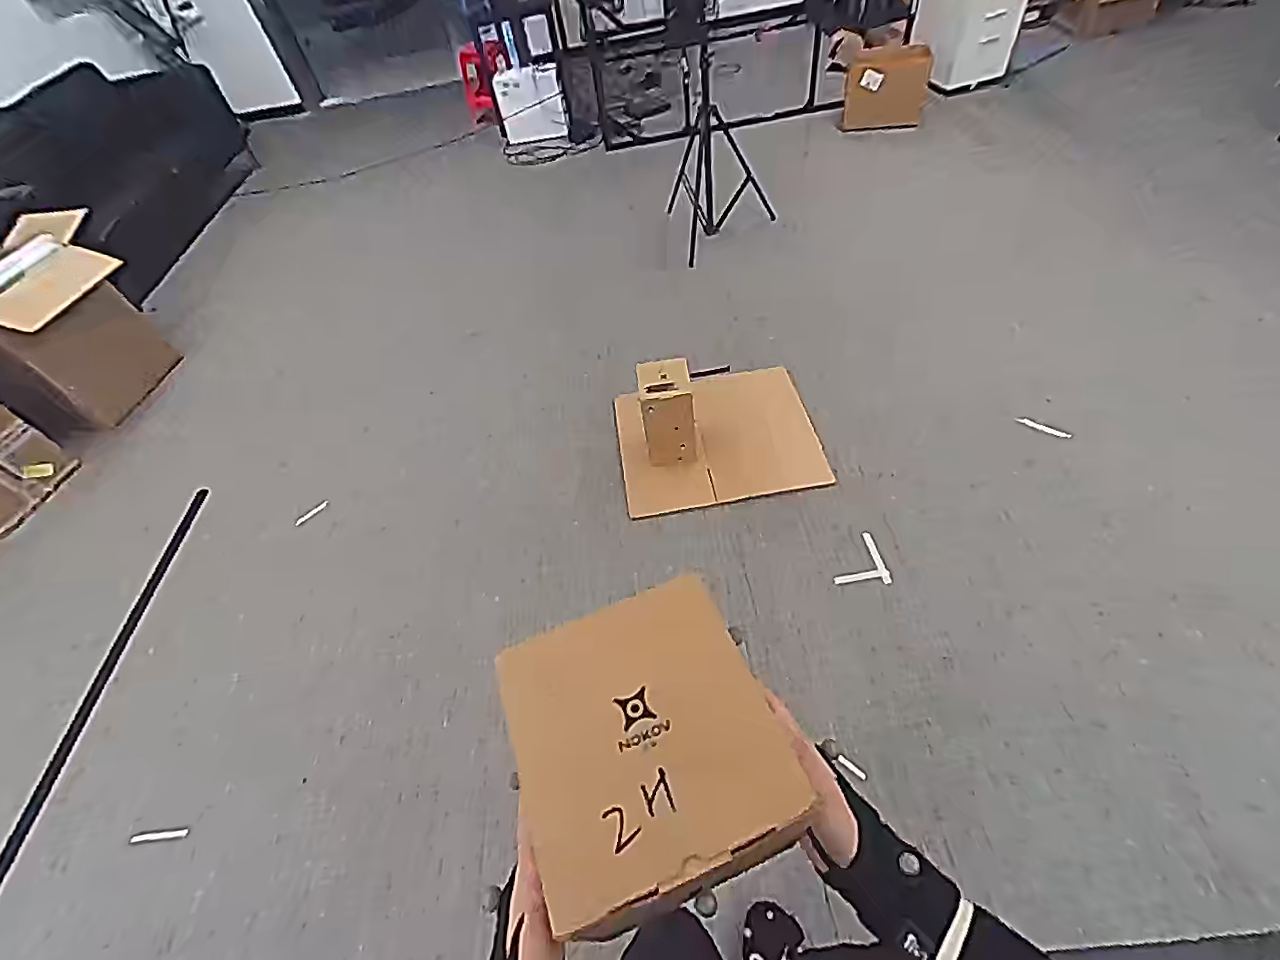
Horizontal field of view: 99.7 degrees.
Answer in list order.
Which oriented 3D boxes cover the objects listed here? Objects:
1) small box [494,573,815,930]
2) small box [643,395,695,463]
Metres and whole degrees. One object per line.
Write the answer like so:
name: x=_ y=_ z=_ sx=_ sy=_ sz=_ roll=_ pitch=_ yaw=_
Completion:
small box: x=0.006 y=0.208 z=0.416 sx=0.168 sy=0.176 sz=0.179 roll=-21 pitch=51 yaw=-9
small box: x=0.104 y=-0.173 z=1.910 sx=0.168 sy=0.176 sz=0.179 roll=-6 pitch=51 yaw=3
